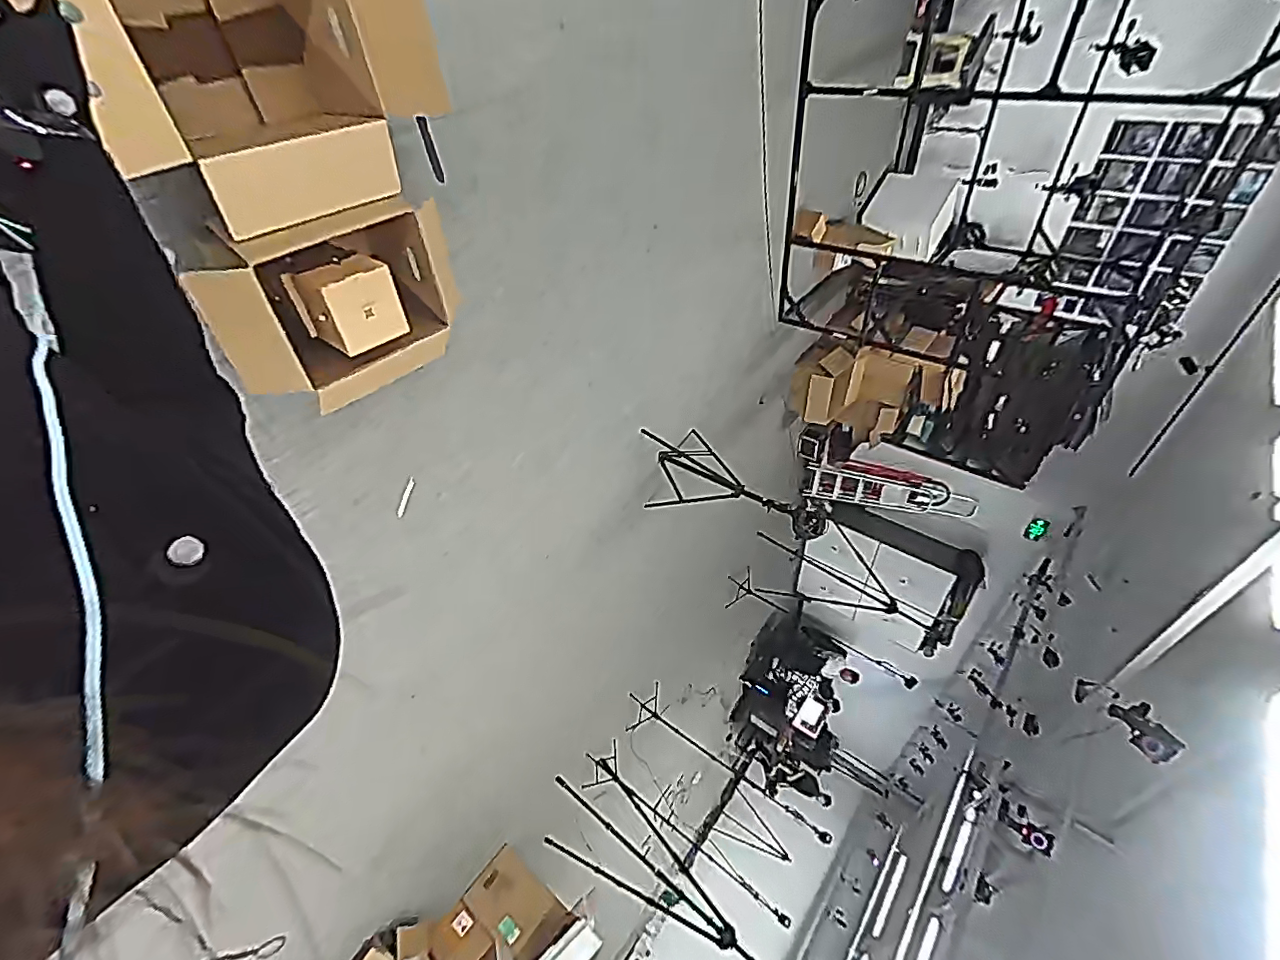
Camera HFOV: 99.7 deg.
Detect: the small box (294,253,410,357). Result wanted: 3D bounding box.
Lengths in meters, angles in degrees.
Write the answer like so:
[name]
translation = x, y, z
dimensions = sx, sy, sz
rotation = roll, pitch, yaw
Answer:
[small box]
translation = -0.707, -0.435, 1.334
dimensions = 0.168, 0.176, 0.179
rotation = -39, 143, -33
